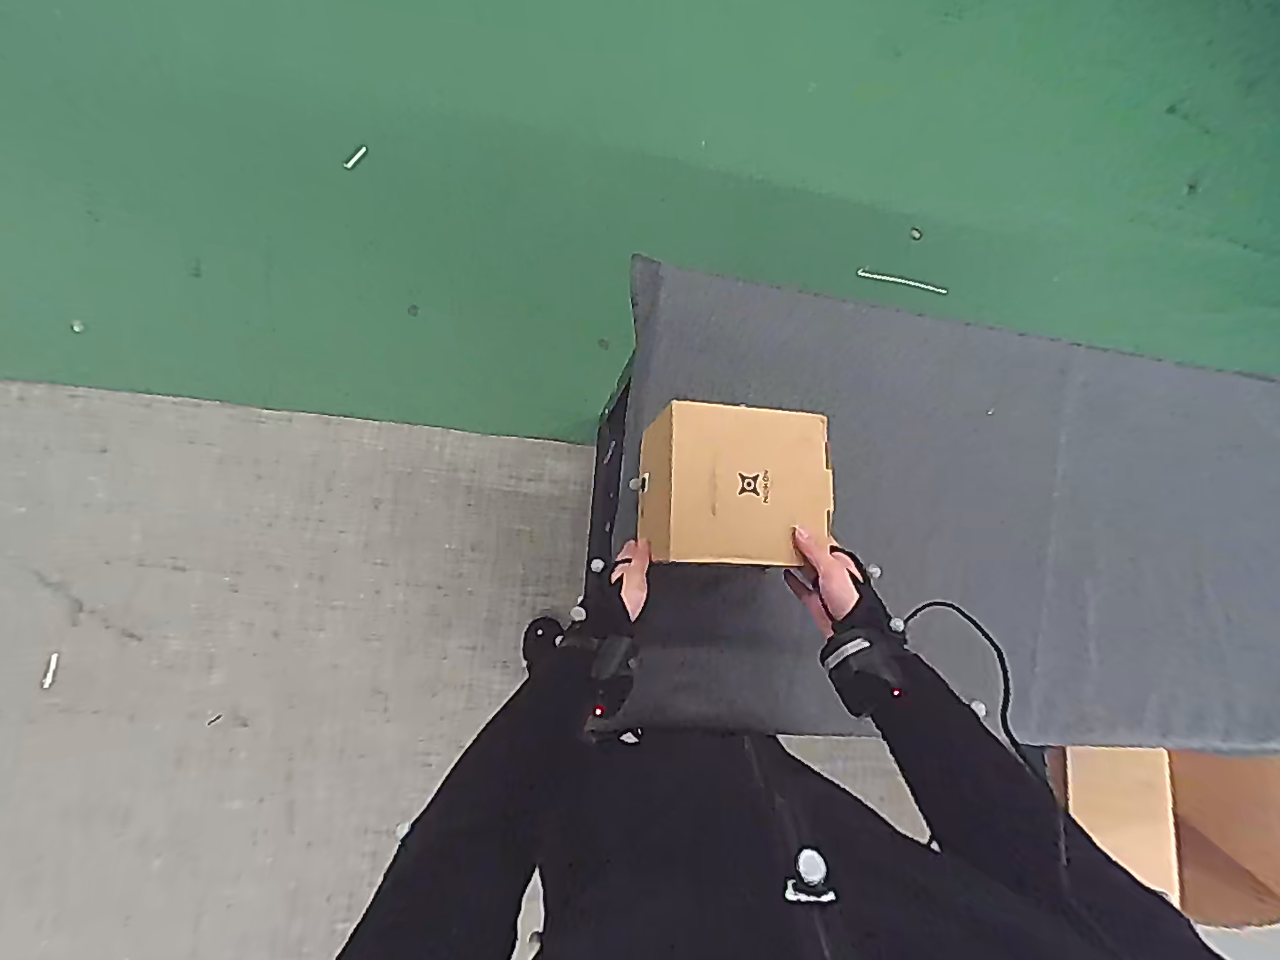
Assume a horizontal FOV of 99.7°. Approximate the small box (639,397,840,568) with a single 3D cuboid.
[{"bbox_3d":[0.103,0.014,0.616,0.179,0.176,0.168,3,81,-11],"label":"small box"}]
